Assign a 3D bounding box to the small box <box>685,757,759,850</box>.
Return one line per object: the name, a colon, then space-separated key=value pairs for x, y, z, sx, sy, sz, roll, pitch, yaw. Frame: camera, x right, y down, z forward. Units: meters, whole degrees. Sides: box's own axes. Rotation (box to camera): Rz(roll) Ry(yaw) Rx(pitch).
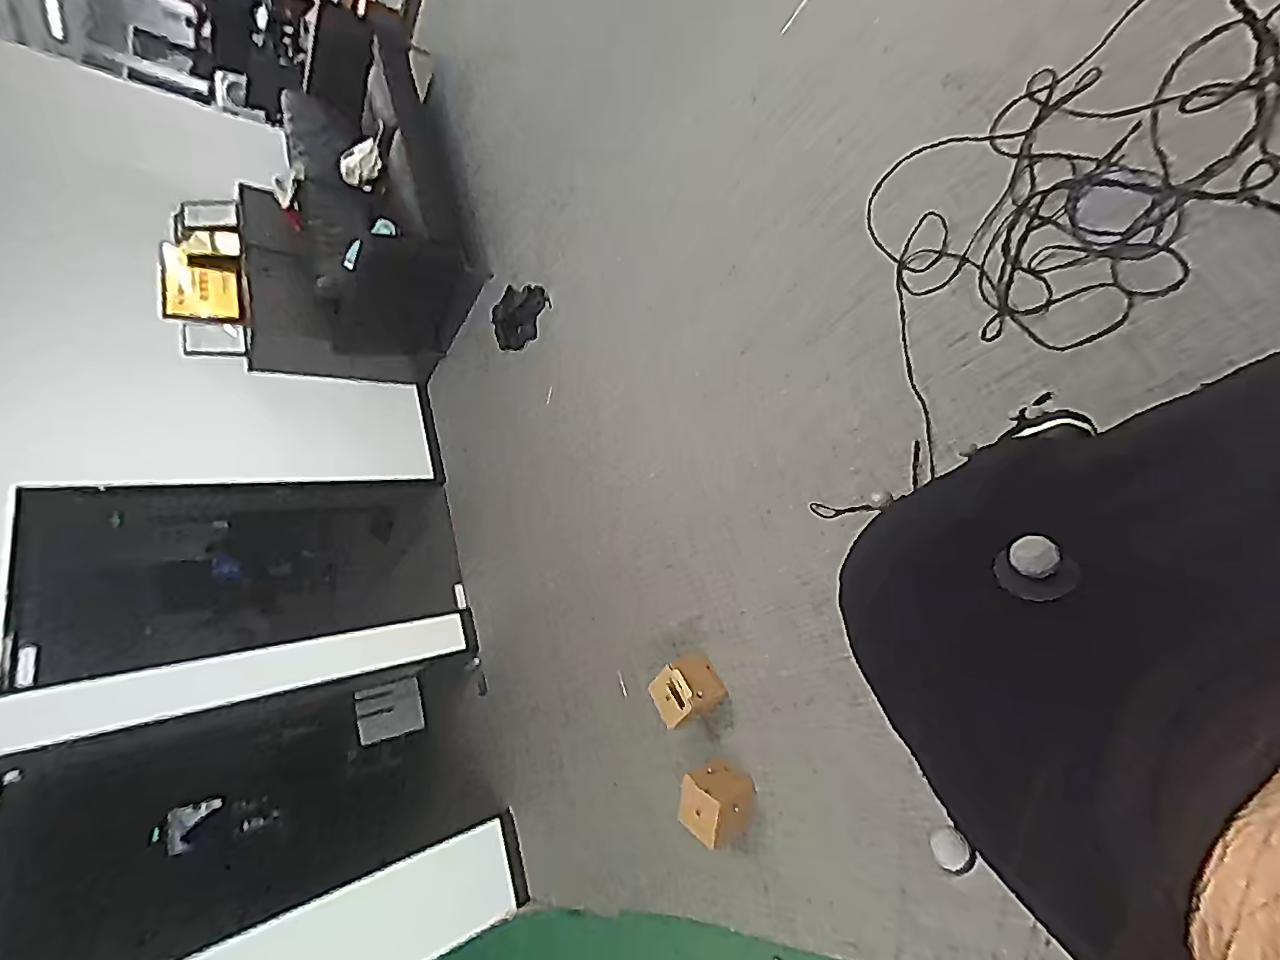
small box: x=0.272 y=1.056 z=1.785 sx=0.168 sy=0.176 sz=0.179 roll=16 pitch=105 yaw=50
